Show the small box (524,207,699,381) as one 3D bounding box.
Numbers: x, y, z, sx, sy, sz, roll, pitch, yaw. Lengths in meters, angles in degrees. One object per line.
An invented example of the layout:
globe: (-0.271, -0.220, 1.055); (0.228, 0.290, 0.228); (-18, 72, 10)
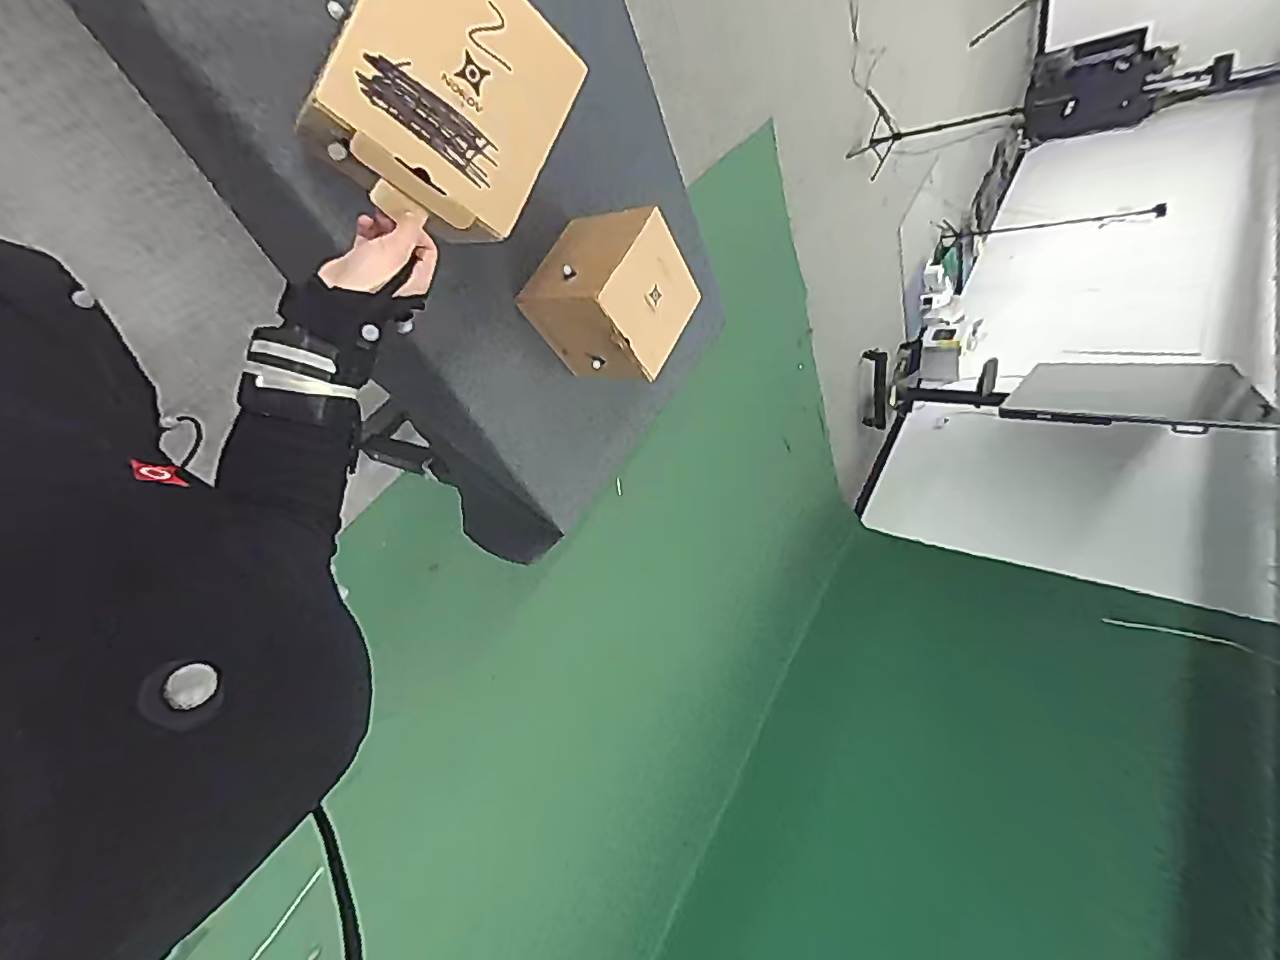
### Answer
small box: (-0.045, -0.269, 0.805); (0.168, 0.176, 0.179); (49, 62, -47)
